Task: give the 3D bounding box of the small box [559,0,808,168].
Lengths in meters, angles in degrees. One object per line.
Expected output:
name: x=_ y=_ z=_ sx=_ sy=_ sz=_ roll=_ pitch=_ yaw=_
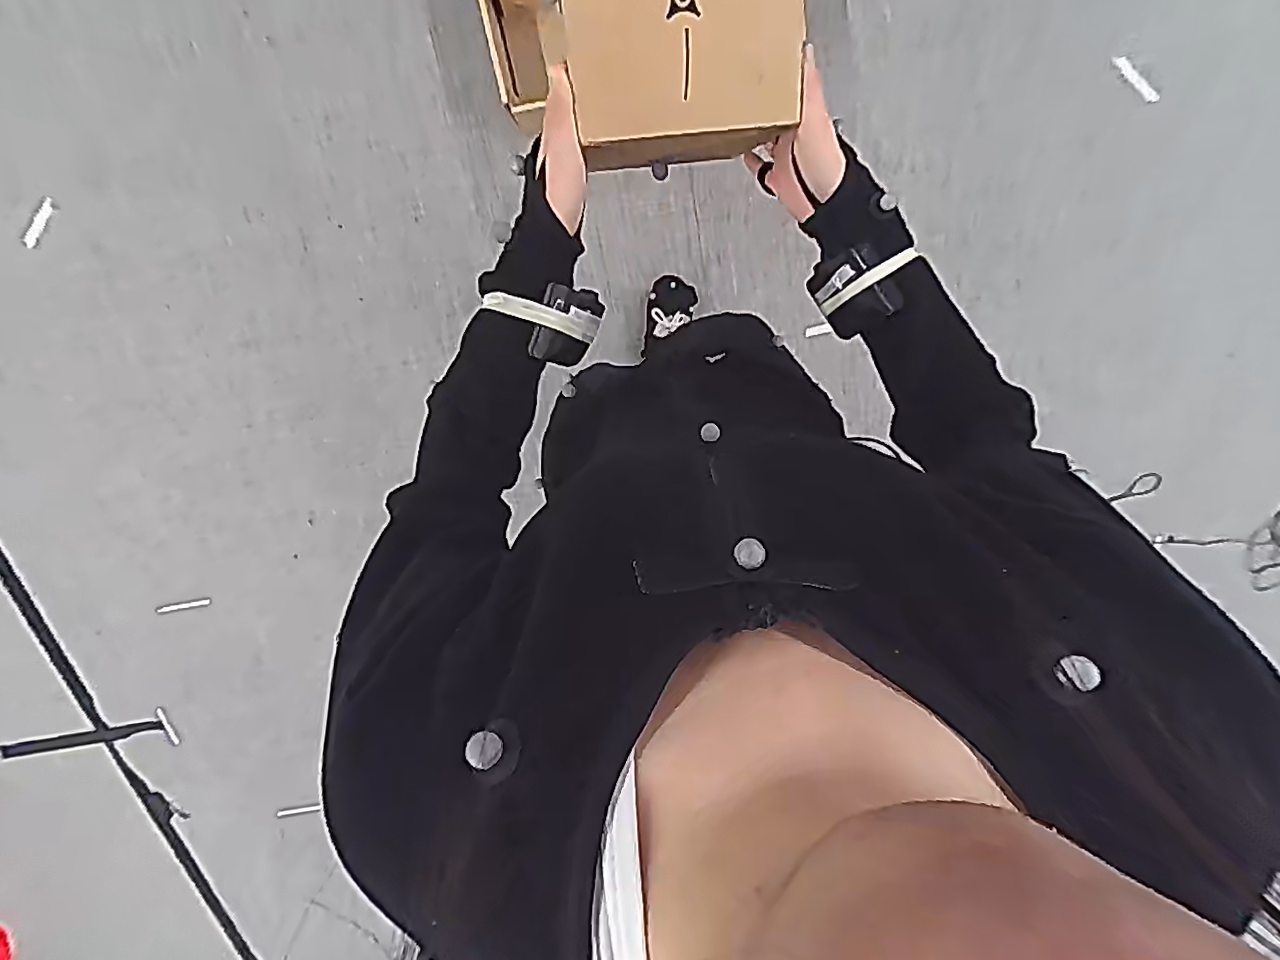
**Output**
small box: x=0.023 y=-0.363 z=0.427 sx=0.168 sy=0.176 sz=0.179 roll=-7 pitch=114 yaw=-3
